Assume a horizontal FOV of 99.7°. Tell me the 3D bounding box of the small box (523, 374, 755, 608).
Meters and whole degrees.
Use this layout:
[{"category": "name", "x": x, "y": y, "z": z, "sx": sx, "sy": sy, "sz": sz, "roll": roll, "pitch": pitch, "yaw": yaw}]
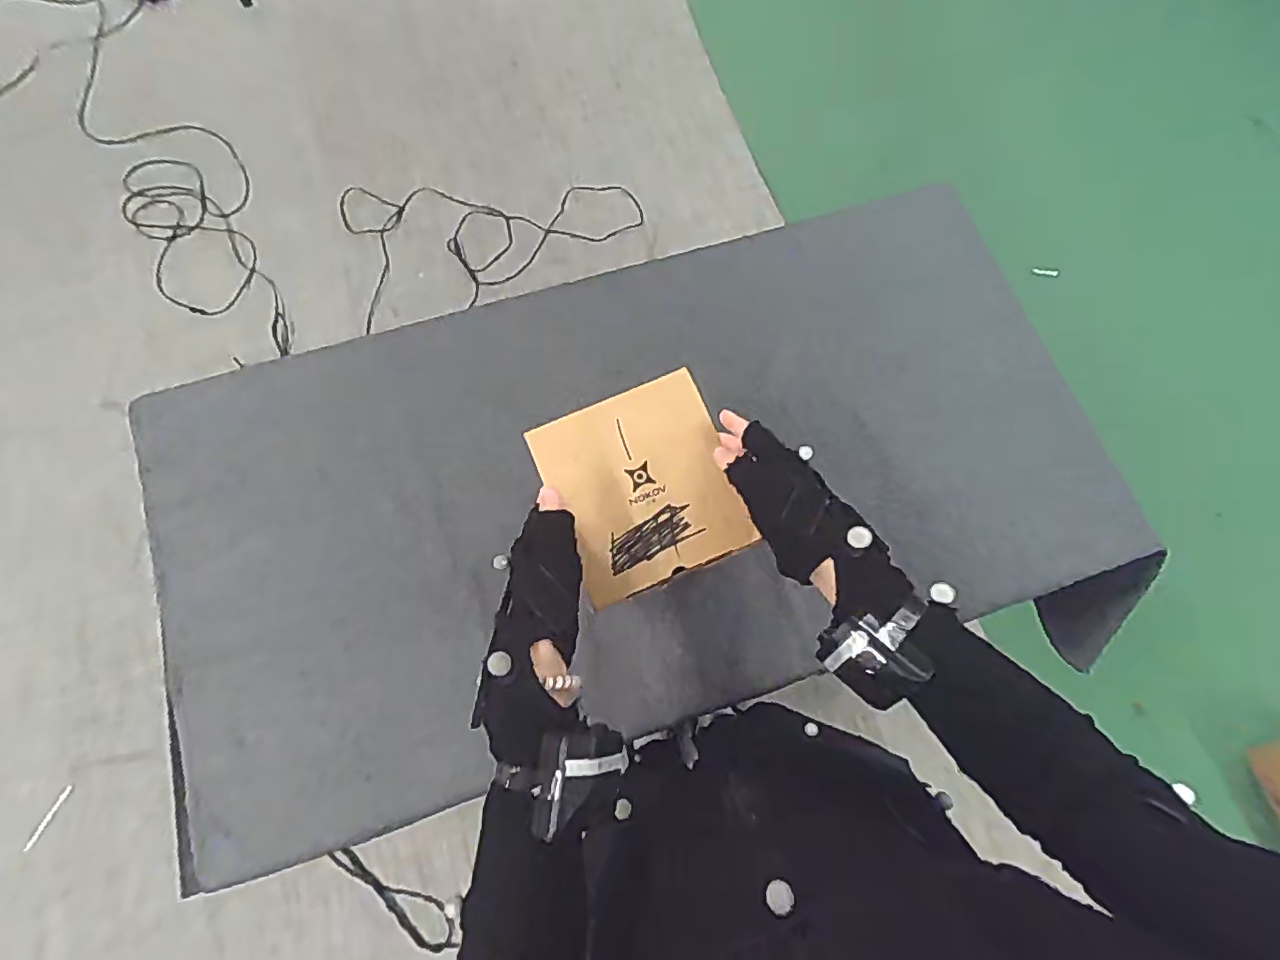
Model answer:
[{"category": "small box", "x": -0.002, "y": 0.018, "z": 0.570, "sx": 0.168, "sy": 0.176, "sz": 0.179, "roll": -23, "pitch": 83, "yaw": -4}]
